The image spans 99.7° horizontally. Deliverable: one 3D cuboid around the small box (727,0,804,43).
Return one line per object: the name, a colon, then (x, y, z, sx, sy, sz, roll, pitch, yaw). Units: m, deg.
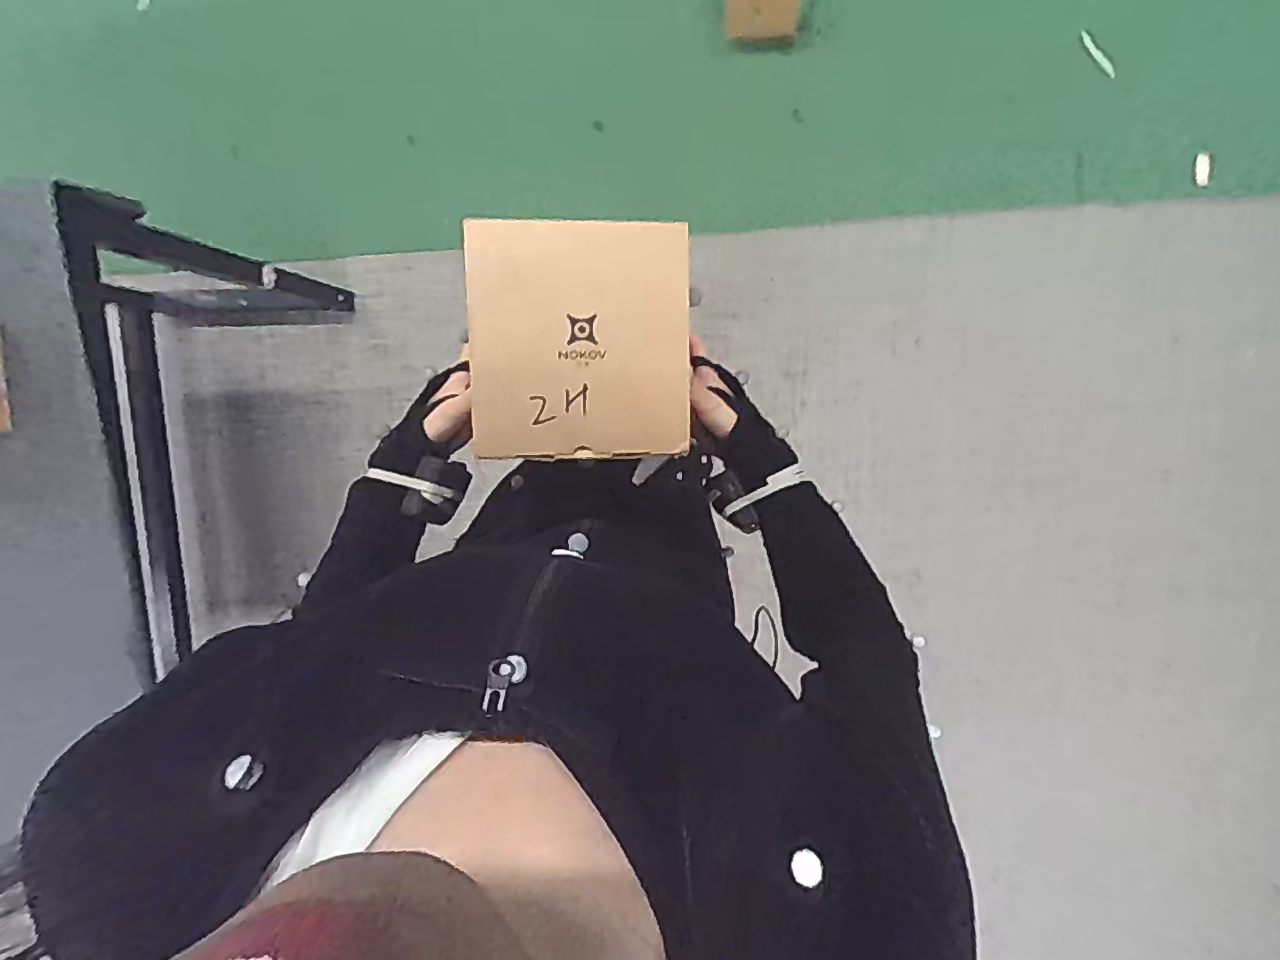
small box: (0.290, -1.146, 1.241, 0.168, 0.176, 0.179, 0, 97, 5)

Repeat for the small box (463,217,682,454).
small box: (-0.057, -0.114, 0.488, 0.168, 0.176, 0.179, -1, 96, -5)
